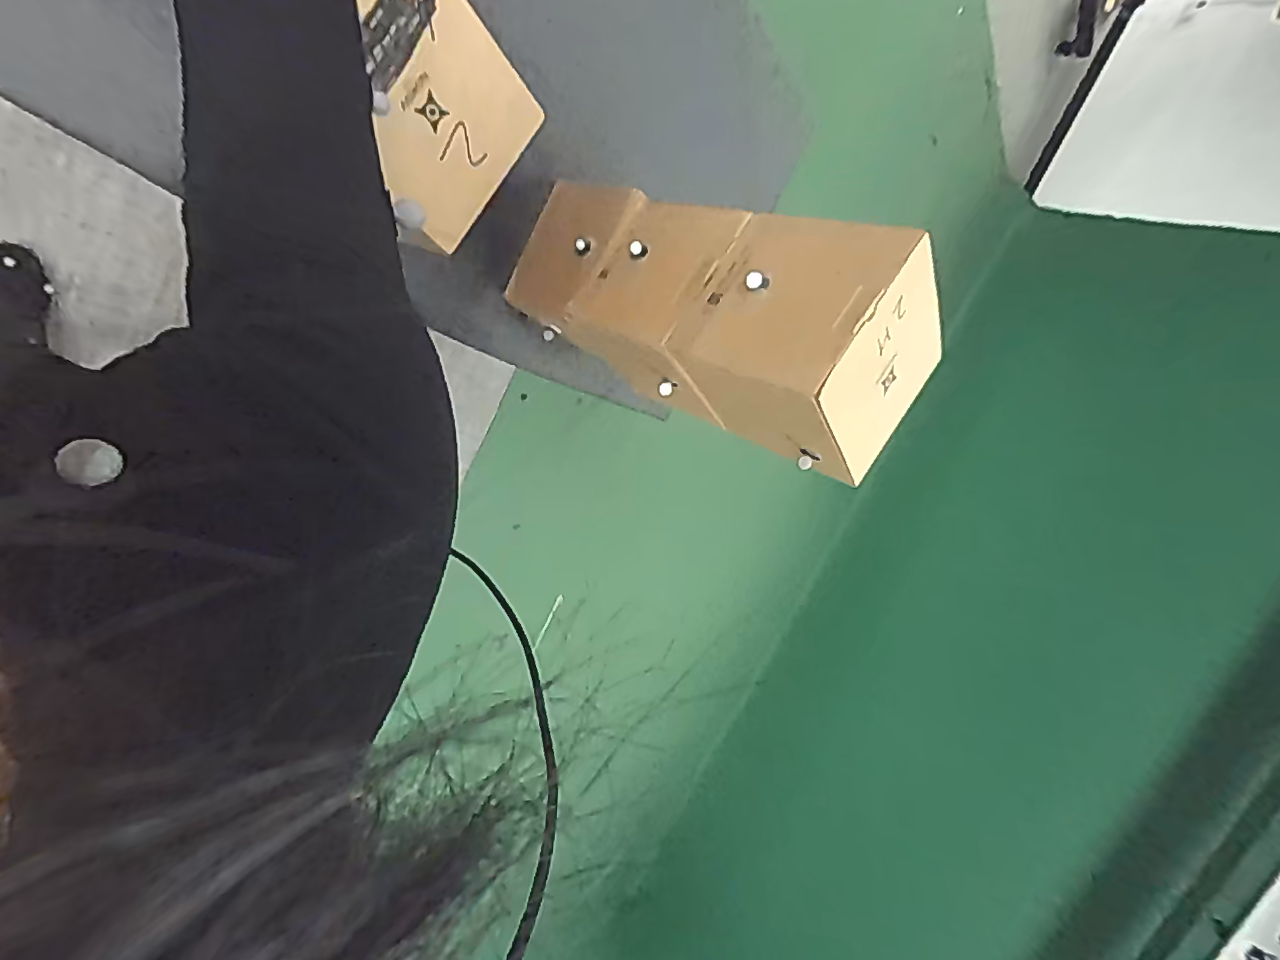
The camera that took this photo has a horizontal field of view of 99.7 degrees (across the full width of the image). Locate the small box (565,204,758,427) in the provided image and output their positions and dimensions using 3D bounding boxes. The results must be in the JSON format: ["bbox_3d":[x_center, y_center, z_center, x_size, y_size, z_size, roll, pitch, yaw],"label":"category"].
[{"bbox_3d":[0.050,-0.194,0.632,0.168,0.176,0.179,-55,140,-3],"label":"small box"}]

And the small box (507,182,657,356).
[{"bbox_3d":[-0.051,-0.274,0.732,0.168,0.176,0.179,21,99,-50],"label":"small box"}]

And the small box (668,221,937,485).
[{"bbox_3d":[0.161,-0.127,0.531,0.168,0.176,0.179,-55,140,-5],"label":"small box"}]
